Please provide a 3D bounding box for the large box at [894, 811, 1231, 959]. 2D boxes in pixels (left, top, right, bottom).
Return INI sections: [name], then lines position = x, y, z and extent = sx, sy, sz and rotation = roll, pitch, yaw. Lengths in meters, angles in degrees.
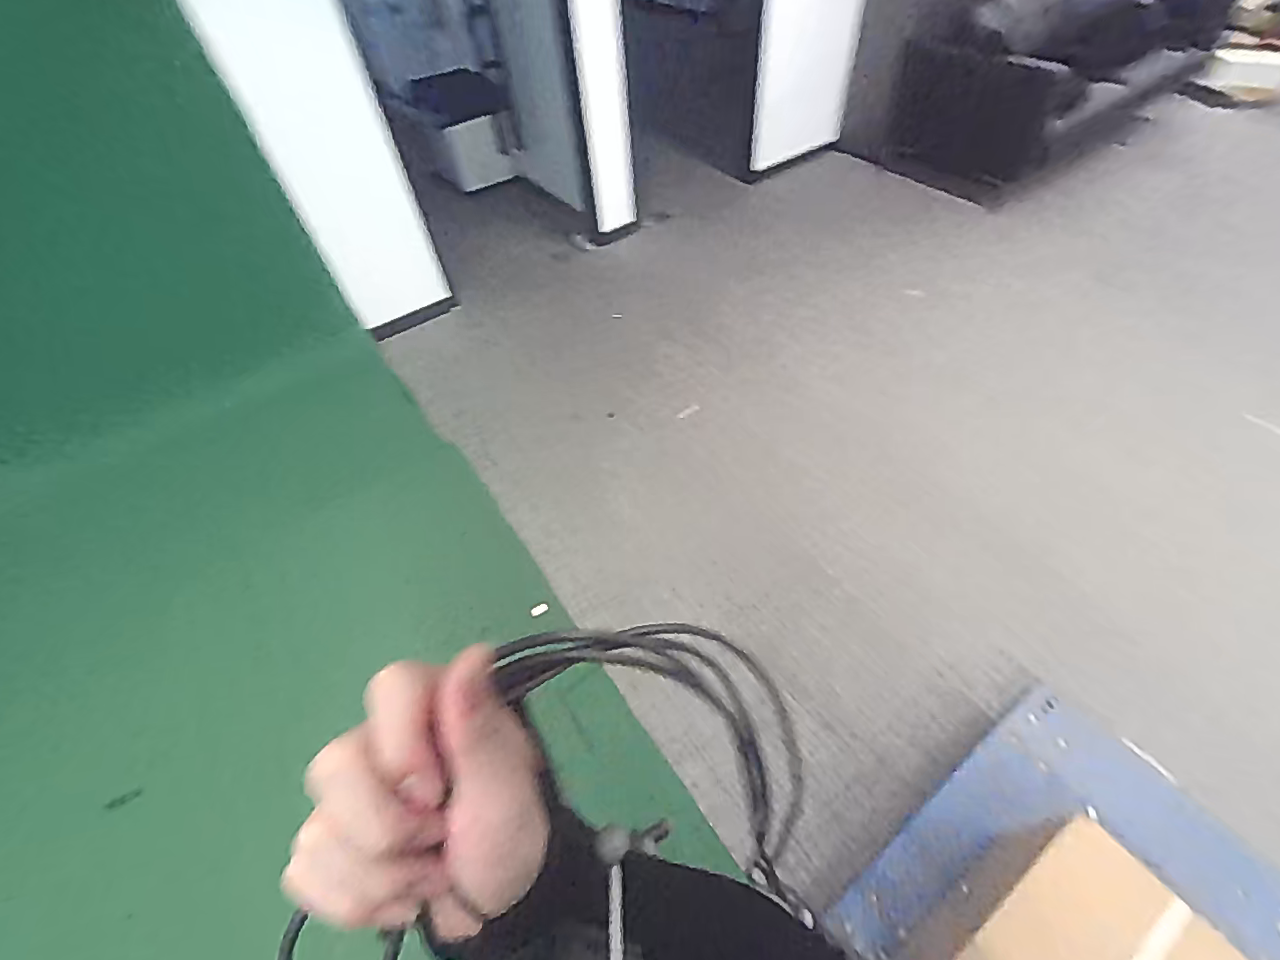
[large box]
position = 0.688, 0.863, 0.912
extent = 0.408, 0.320, 0.320
rotation = -30, 54, -20
